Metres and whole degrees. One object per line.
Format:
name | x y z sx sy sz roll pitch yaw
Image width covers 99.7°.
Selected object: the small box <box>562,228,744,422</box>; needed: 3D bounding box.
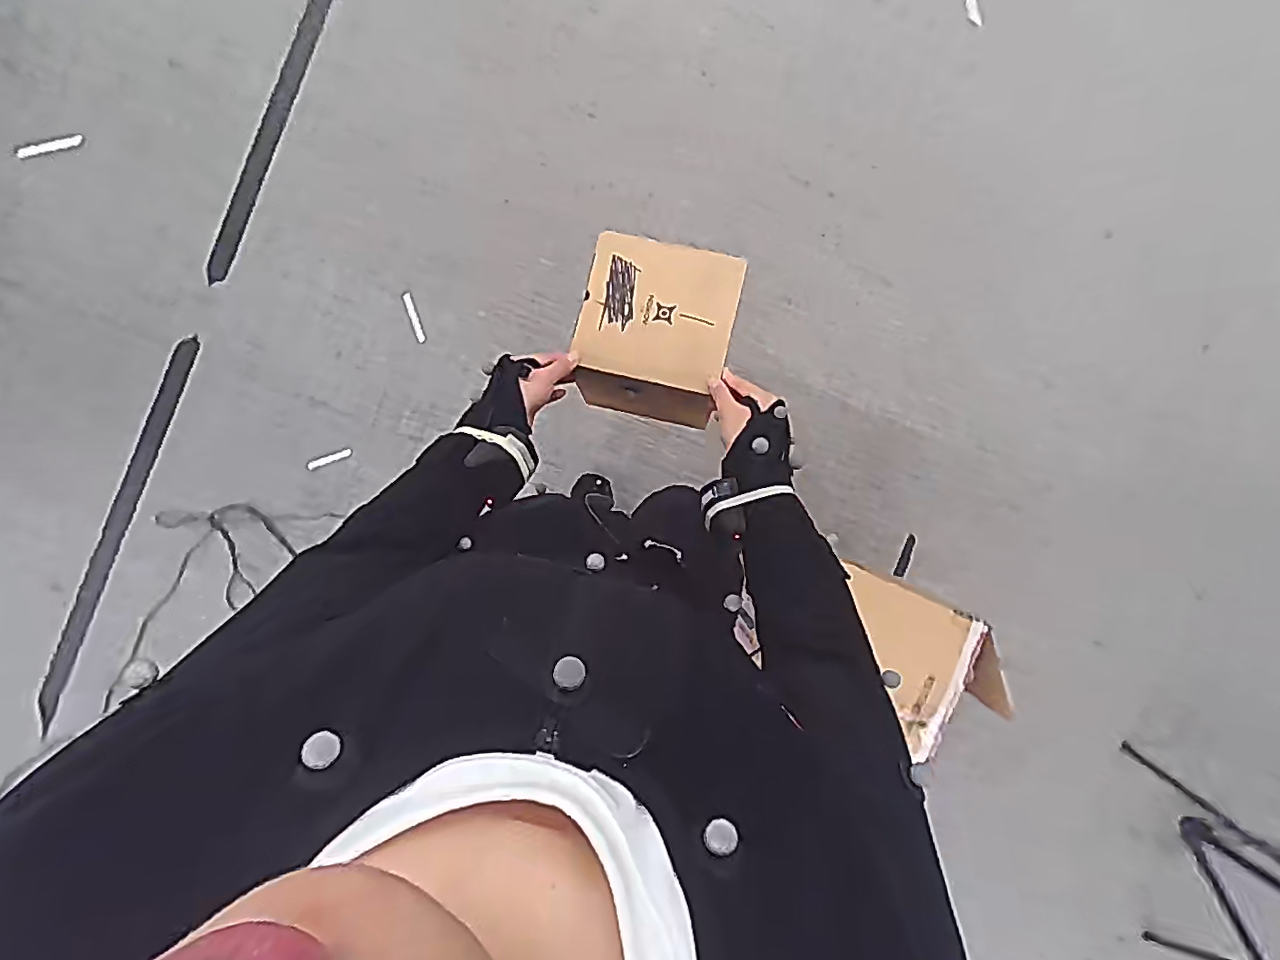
small box | 0.018 -0.183 0.685 0.179 0.176 0.168 13 83 3
